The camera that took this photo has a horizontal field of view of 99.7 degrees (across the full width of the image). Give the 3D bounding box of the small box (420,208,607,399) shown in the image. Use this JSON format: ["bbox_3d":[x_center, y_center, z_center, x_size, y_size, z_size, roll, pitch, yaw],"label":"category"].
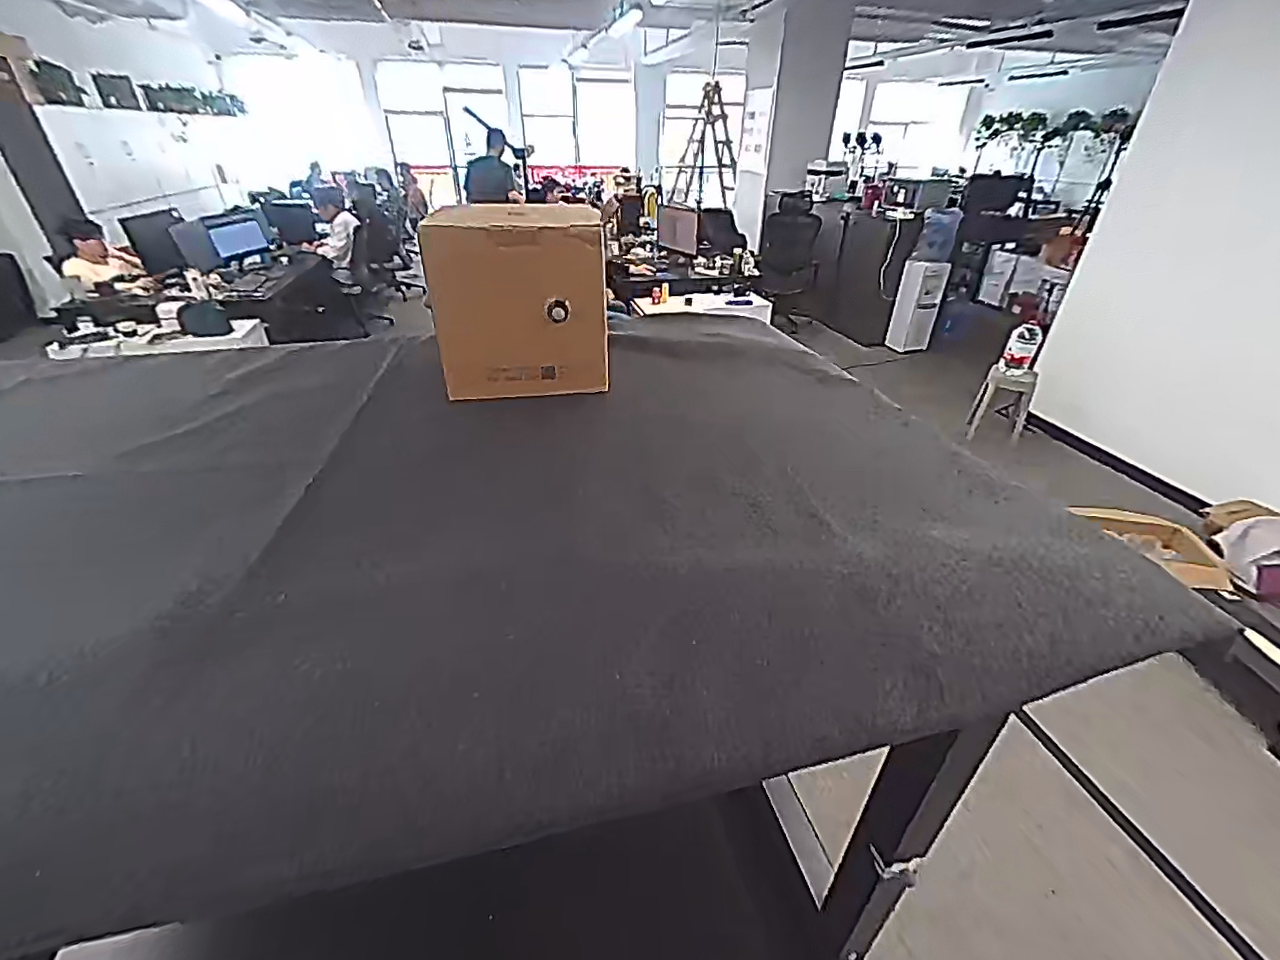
[{"bbox_3d":[-0.125,-0.194,0.591,0.168,0.176,0.179,-3,32,-8],"label":"small box"}]
